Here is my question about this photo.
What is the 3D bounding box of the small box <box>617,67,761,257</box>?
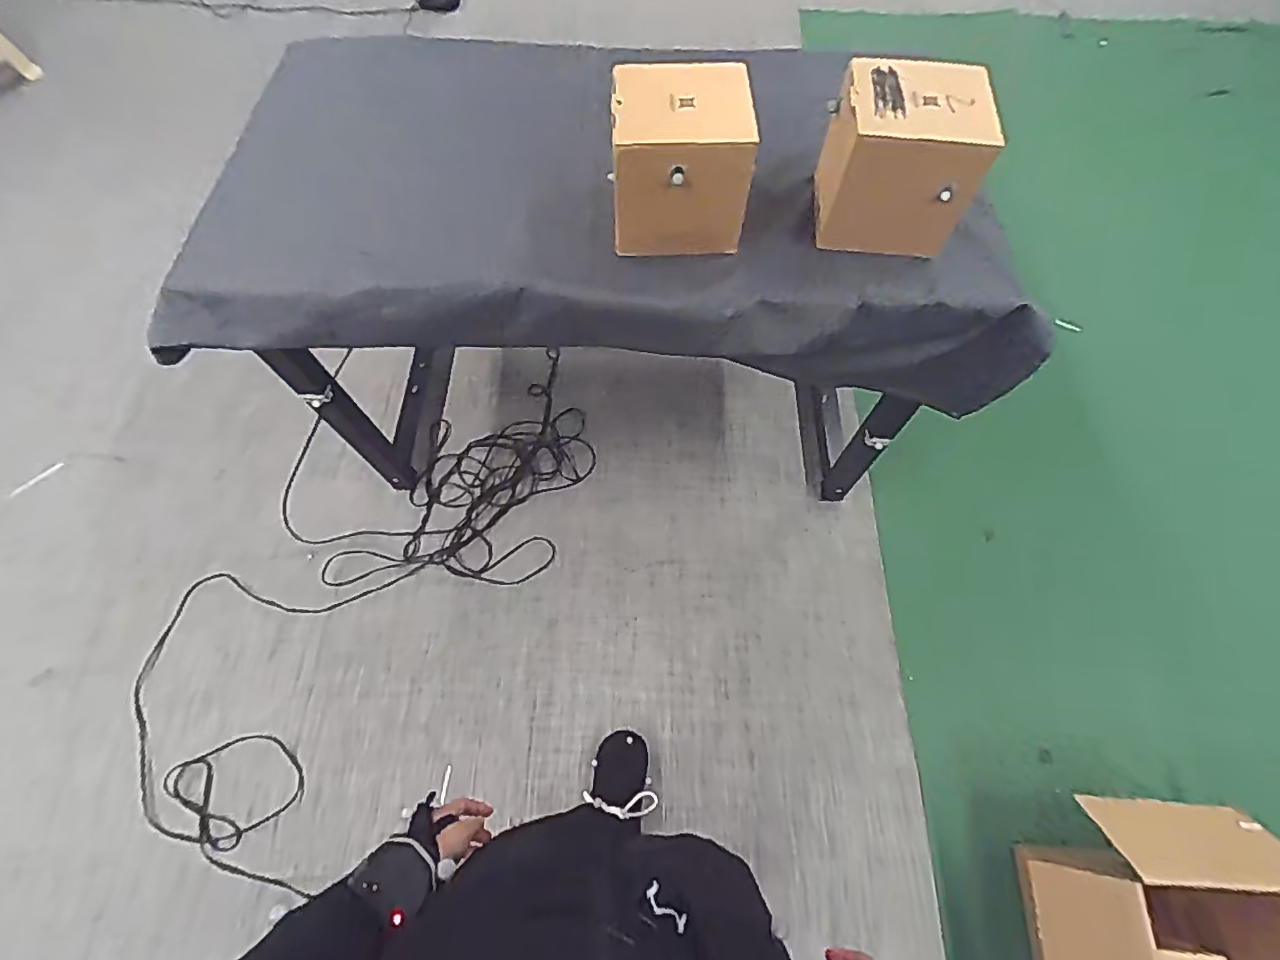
[{"bbox_3d":[0.058,-0.432,0.751,0.179,0.176,0.168,-1,64,0],"label":"small box"}]
